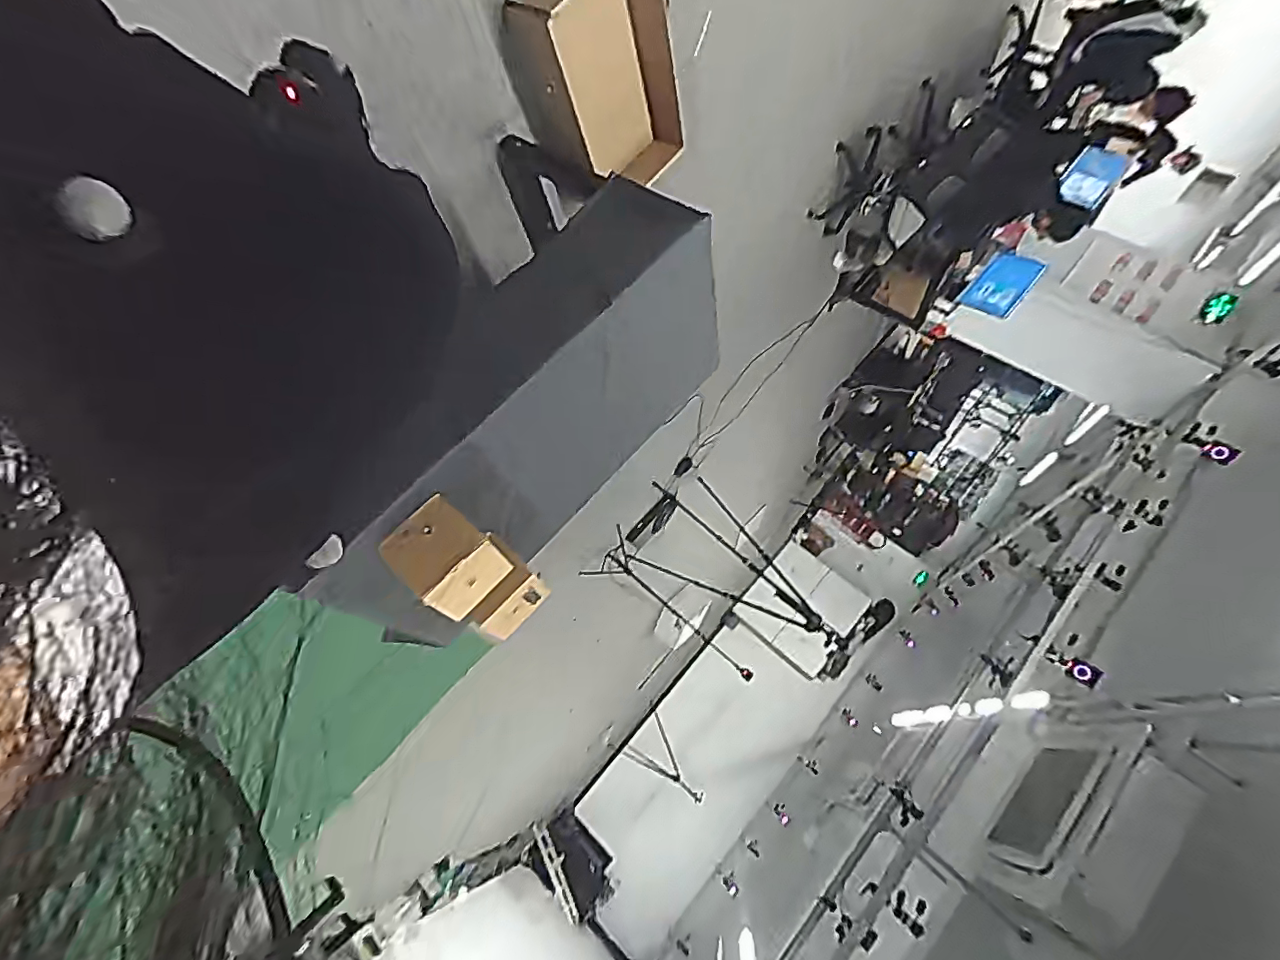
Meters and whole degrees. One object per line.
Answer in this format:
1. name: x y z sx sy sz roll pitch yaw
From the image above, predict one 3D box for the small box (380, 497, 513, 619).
1. small box: -0.409 0.164 1.154 0.168 0.176 0.179 -46 156 -17
